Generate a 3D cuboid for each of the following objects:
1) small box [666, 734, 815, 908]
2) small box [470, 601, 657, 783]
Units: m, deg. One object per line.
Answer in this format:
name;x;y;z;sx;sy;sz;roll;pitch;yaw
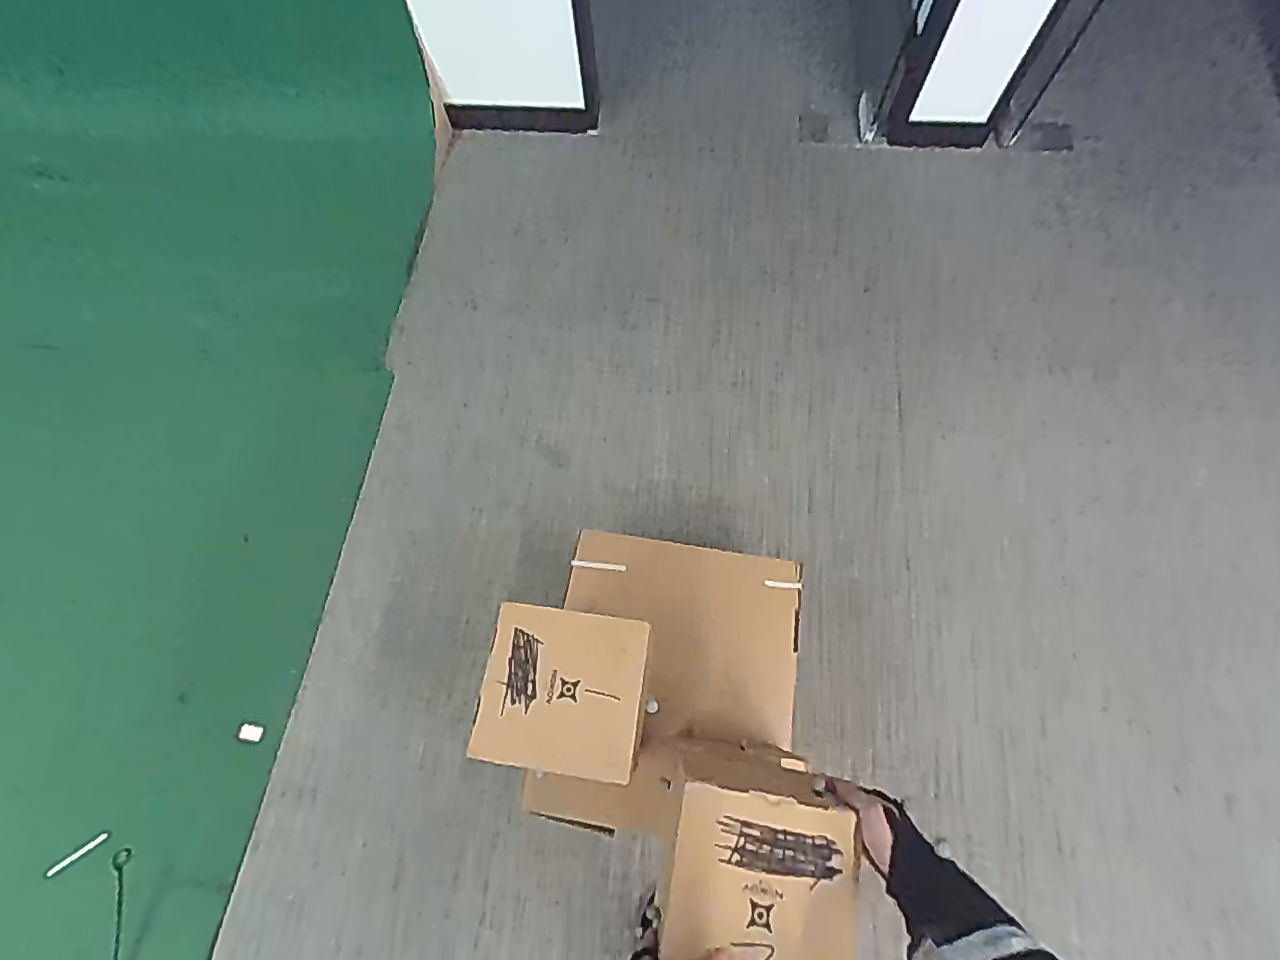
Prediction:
small box;0.131;0.454;0.748;0.179;0.176;0.168;5;68;4
small box;-0.076;0.253;0.656;0.179;0.176;0.168;6;69;6
